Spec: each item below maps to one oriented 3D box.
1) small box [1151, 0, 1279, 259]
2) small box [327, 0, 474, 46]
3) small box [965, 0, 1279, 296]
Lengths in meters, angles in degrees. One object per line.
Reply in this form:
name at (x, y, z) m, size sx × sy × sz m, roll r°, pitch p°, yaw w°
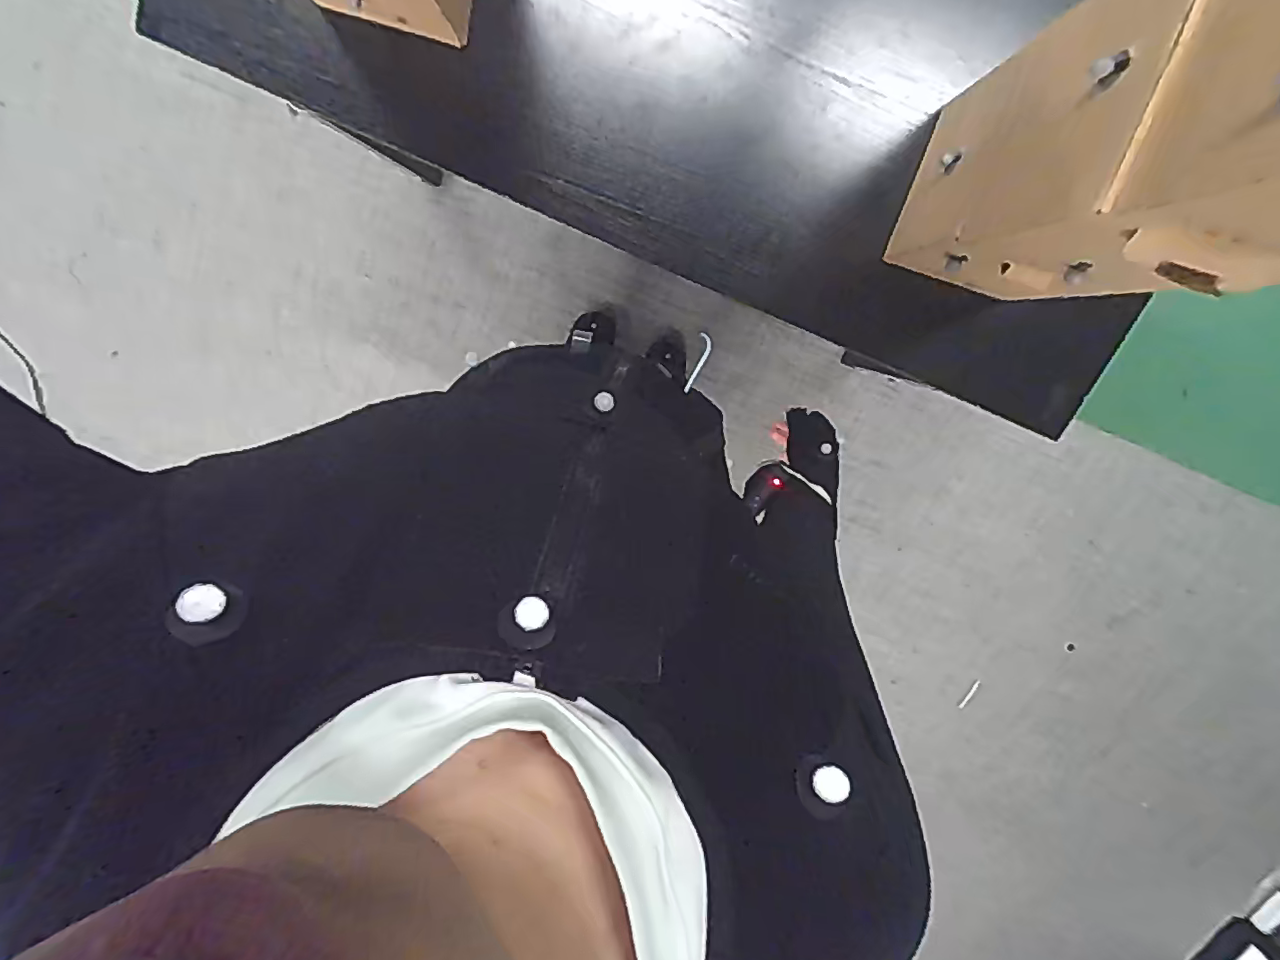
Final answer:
small box at (0.398, -0.196, 0.239) m, size 0.168 × 0.176 × 0.179 m, roll 14°, pitch 106°, yaw -4°
small box at (-0.247, -0.554, 0.494) m, size 0.168 × 0.176 × 0.179 m, roll 13°, pitch 108°, yaw -4°
small box at (0.392, -0.250, 0.410) m, size 0.168 × 0.176 × 0.179 m, roll 14°, pitch 106°, yaw -4°
